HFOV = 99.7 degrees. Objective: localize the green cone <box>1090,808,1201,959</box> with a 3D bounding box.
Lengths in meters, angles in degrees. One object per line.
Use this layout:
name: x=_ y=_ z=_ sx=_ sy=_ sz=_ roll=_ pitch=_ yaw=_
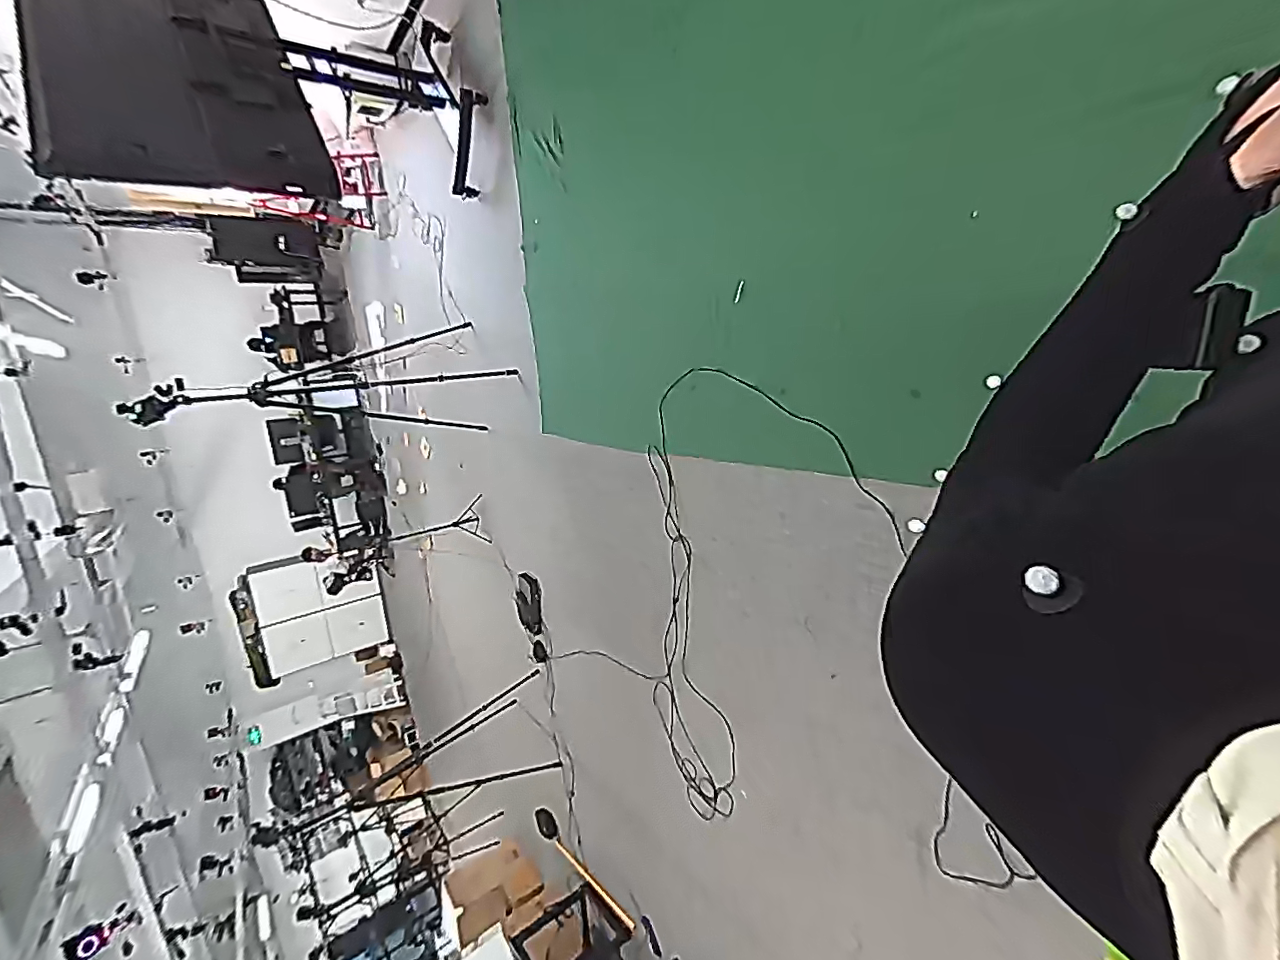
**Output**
green cone: x=1.187 y=1.026 z=1.320 sx=0.202 sy=0.368 sz=0.200 roll=14 pitch=112 yaw=51
